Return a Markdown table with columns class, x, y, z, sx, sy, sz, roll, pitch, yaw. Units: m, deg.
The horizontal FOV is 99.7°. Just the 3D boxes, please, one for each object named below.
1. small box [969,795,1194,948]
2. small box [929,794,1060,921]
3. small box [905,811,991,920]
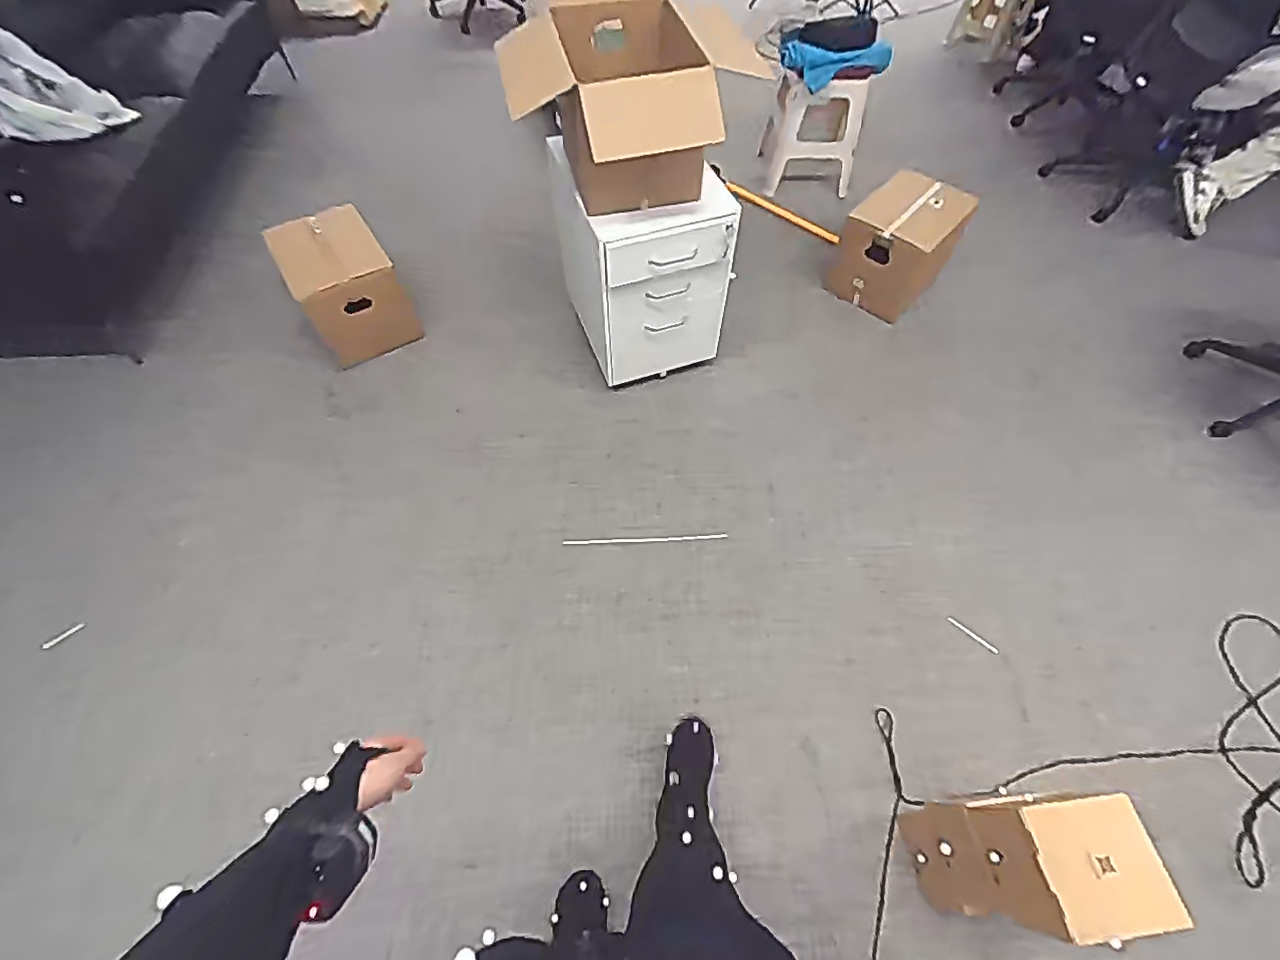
| class | x | y | z | sx | sy | sz | roll | pitch | yaw |
| --- | --- | --- | --- | --- | --- | --- | --- | --- | --- |
| small box | 0.664 | 0.594 | 0.841 | 0.179 | 0.176 | 0.168 | -7 | 58 | -3 |
| small box | 0.669 | 0.675 | 0.982 | 0.179 | 0.176 | 0.168 | -6 | 58 | -2 |
| small box | 0.676 | 0.777 | 1.111 | 0.179 | 0.176 | 0.168 | -8 | 59 | -5 |
